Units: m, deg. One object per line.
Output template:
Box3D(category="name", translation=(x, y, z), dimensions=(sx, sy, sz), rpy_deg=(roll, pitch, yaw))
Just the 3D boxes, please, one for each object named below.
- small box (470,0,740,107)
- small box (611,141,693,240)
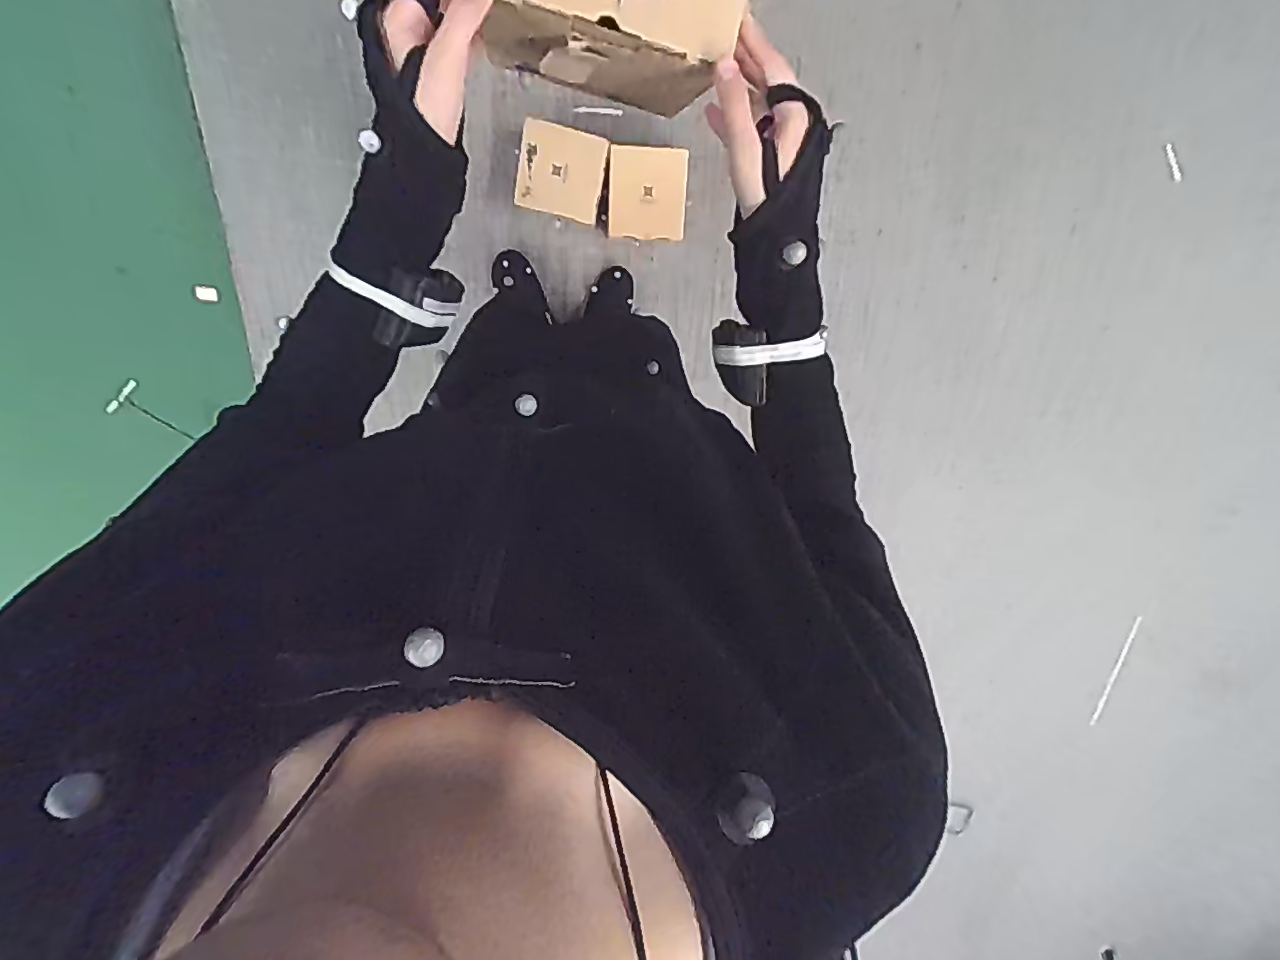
Box3D(category="small box", translation=(-0.018, -0.385, 0.369), dimensions=(0.168, 0.176, 0.179), rpy_deg=(7, 113, -13))
Box3D(category="small box", translation=(0.020, -0.642, 1.217), dimensions=(0.168, 0.176, 0.179), rpy_deg=(1, 113, -4))
